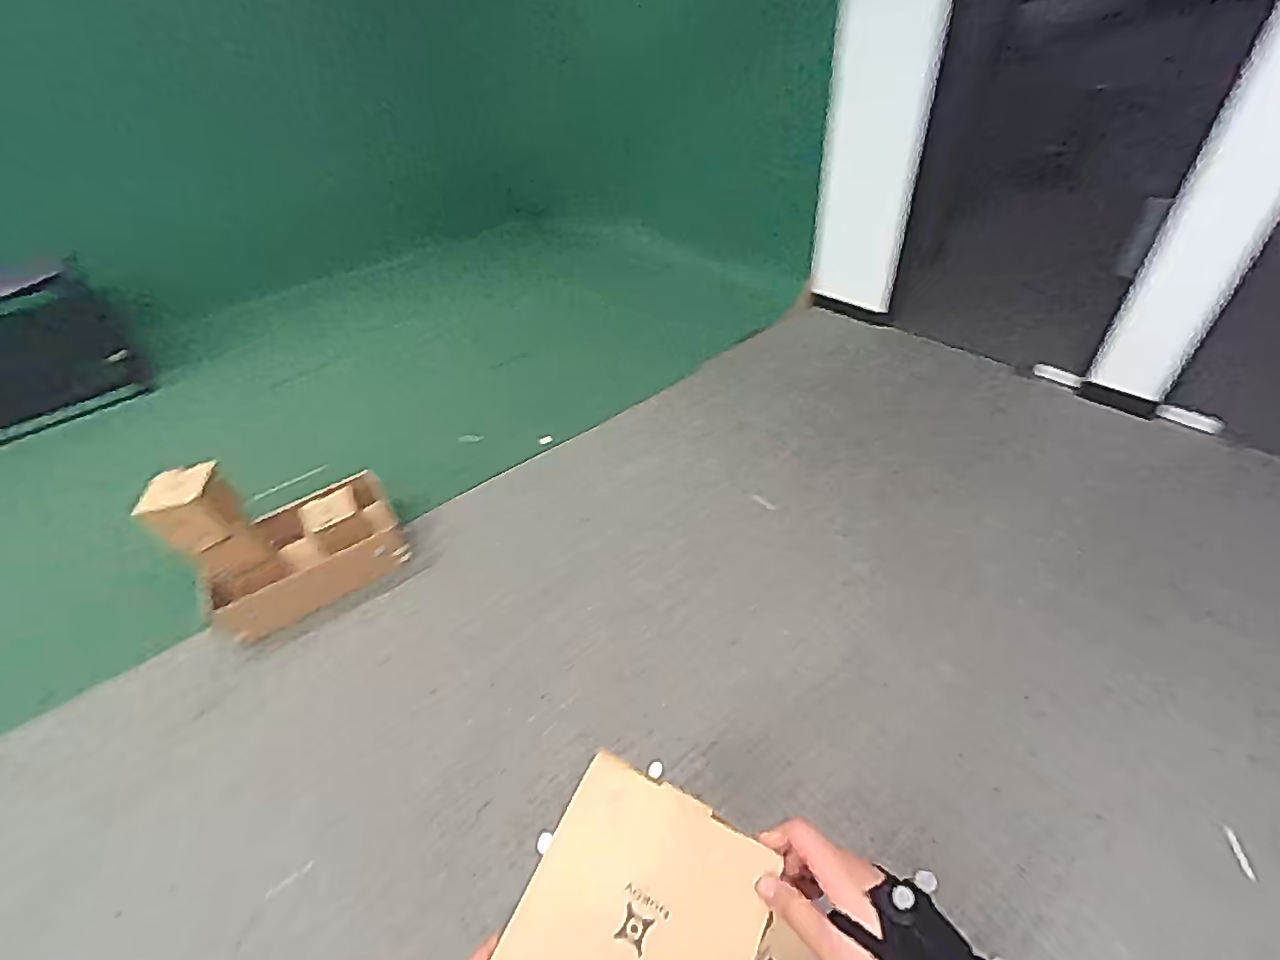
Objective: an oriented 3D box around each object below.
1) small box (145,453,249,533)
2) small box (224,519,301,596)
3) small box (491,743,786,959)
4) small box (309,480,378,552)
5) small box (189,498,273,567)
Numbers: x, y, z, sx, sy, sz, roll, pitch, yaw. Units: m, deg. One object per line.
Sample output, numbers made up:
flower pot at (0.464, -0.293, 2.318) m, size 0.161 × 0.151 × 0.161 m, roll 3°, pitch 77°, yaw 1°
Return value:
small box at (-1.357, 0.047, 1.674) m, size 0.168 × 0.176 × 0.179 m, roll -13°, pitch 42°, yaw -7°
small box at (-1.337, 0.275, 1.908) m, size 0.168 × 0.176 × 0.179 m, roll -30°, pitch 48°, yaw -23°
small box at (0.004, 0.356, 0.459) m, size 0.168 × 0.176 × 0.179 m, roll 22°, pitch 62°, yaw 17°
small box at (-1.111, 0.135, 2.031) m, size 0.168 × 0.176 × 0.179 m, roll -26°, pitch 46°, yaw -19°
small box at (-1.349, 0.163, 1.788) m, size 0.168 × 0.176 × 0.179 m, roll -28°, pitch 46°, yaw -23°
